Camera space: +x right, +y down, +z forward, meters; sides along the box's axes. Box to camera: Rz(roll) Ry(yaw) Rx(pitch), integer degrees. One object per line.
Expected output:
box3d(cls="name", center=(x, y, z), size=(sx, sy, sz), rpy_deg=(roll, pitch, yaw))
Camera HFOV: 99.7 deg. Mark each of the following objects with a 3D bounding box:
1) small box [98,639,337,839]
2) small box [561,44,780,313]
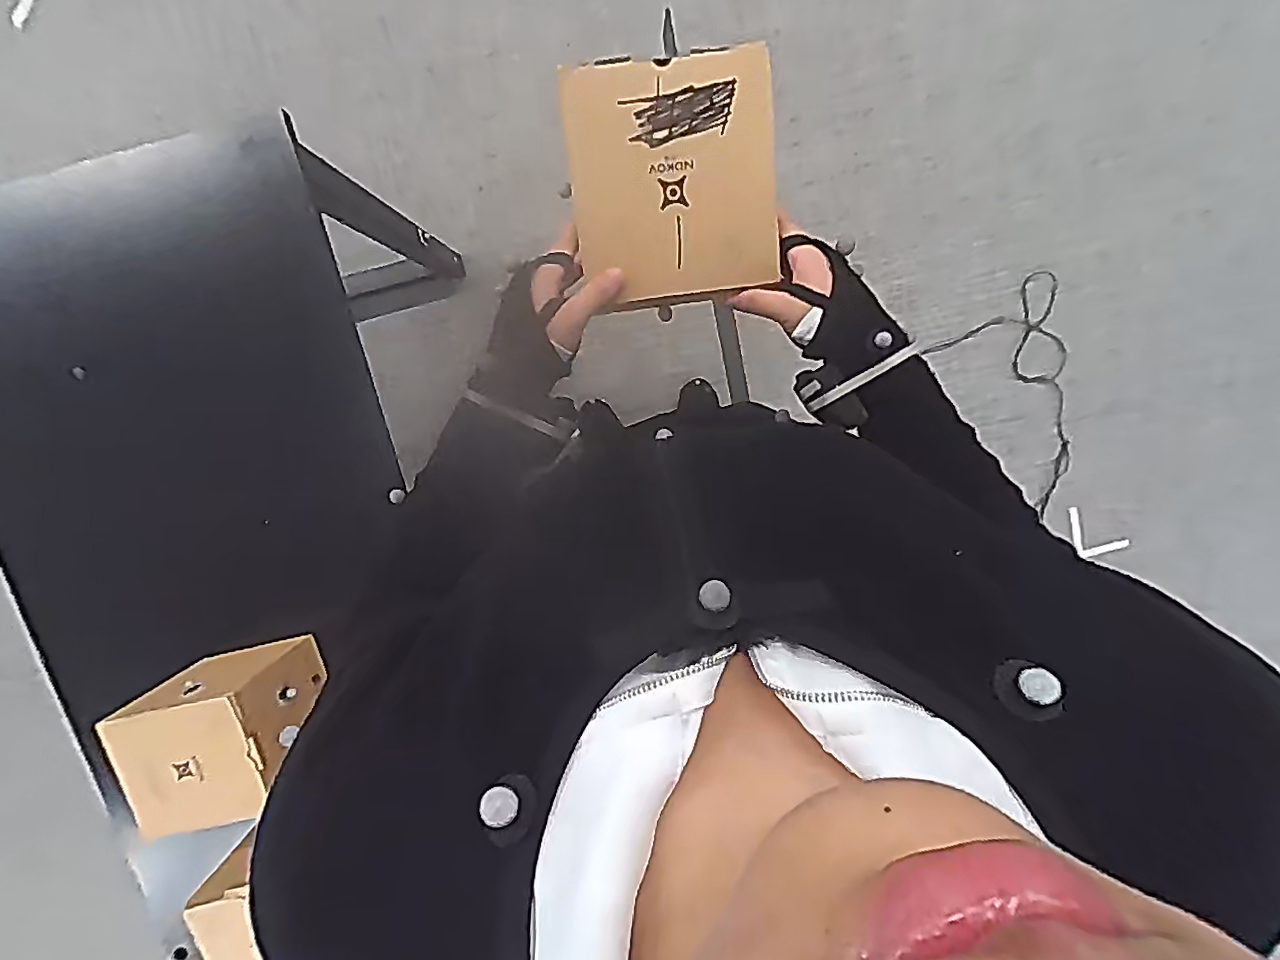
box3d(cls="small box", center=(-0.548, 0.337, 0.735), size=(0.179, 0.176, 0.168), rpy_deg=(-13, 98, 3))
box3d(cls="small box", center=(0.023, -0.259, 0.507), size=(0.168, 0.176, 0.179), rpy_deg=(-7, 105, -1))
